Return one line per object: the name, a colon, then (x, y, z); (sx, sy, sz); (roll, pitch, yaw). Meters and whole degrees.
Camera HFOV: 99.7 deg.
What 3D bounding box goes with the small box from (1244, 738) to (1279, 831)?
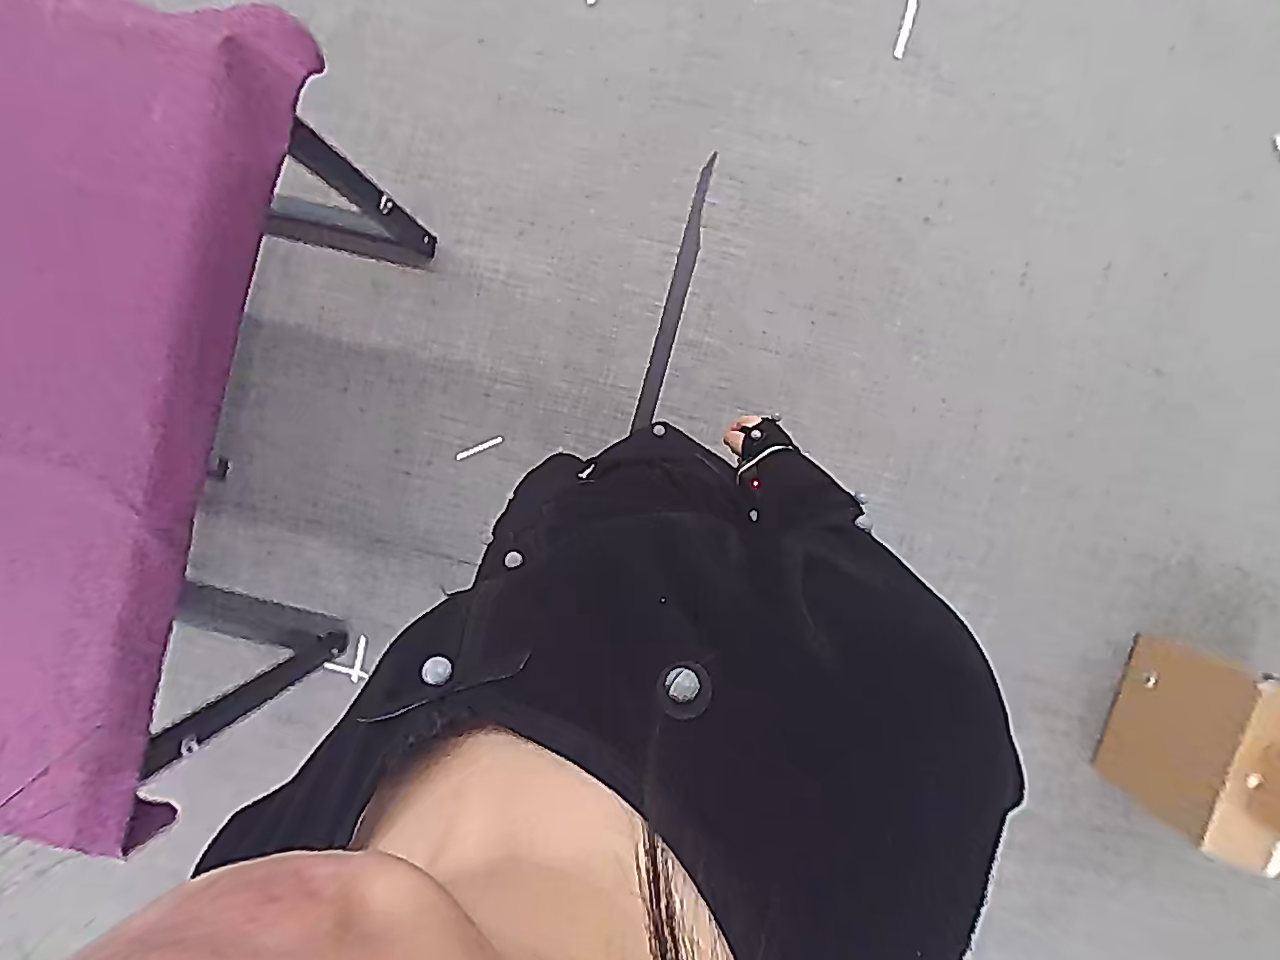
small box: (1.392, 0.653, 1.081); (0.168, 0.176, 0.179); (14, 95, 3)
